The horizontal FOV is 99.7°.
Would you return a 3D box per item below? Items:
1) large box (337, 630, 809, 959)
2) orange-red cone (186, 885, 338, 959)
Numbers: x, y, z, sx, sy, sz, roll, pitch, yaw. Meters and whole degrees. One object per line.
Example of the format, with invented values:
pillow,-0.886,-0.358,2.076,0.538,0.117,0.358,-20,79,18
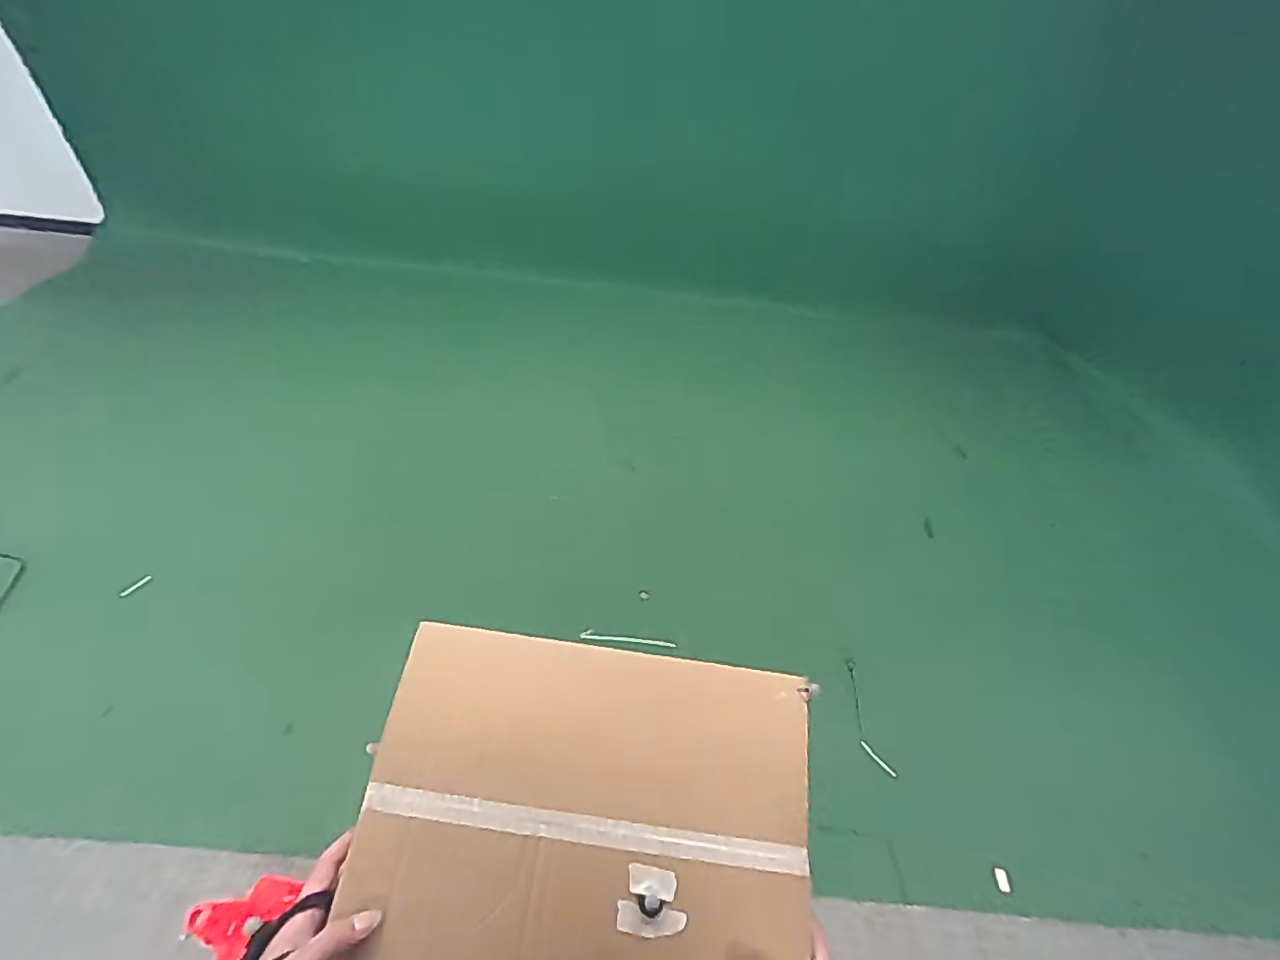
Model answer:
large box,-0.050,0.382,0.632,0.408,0.320,0.320,7,64,1
orange-red cone,-0.794,0.909,1.076,0.199,0.360,0.198,10,44,5
